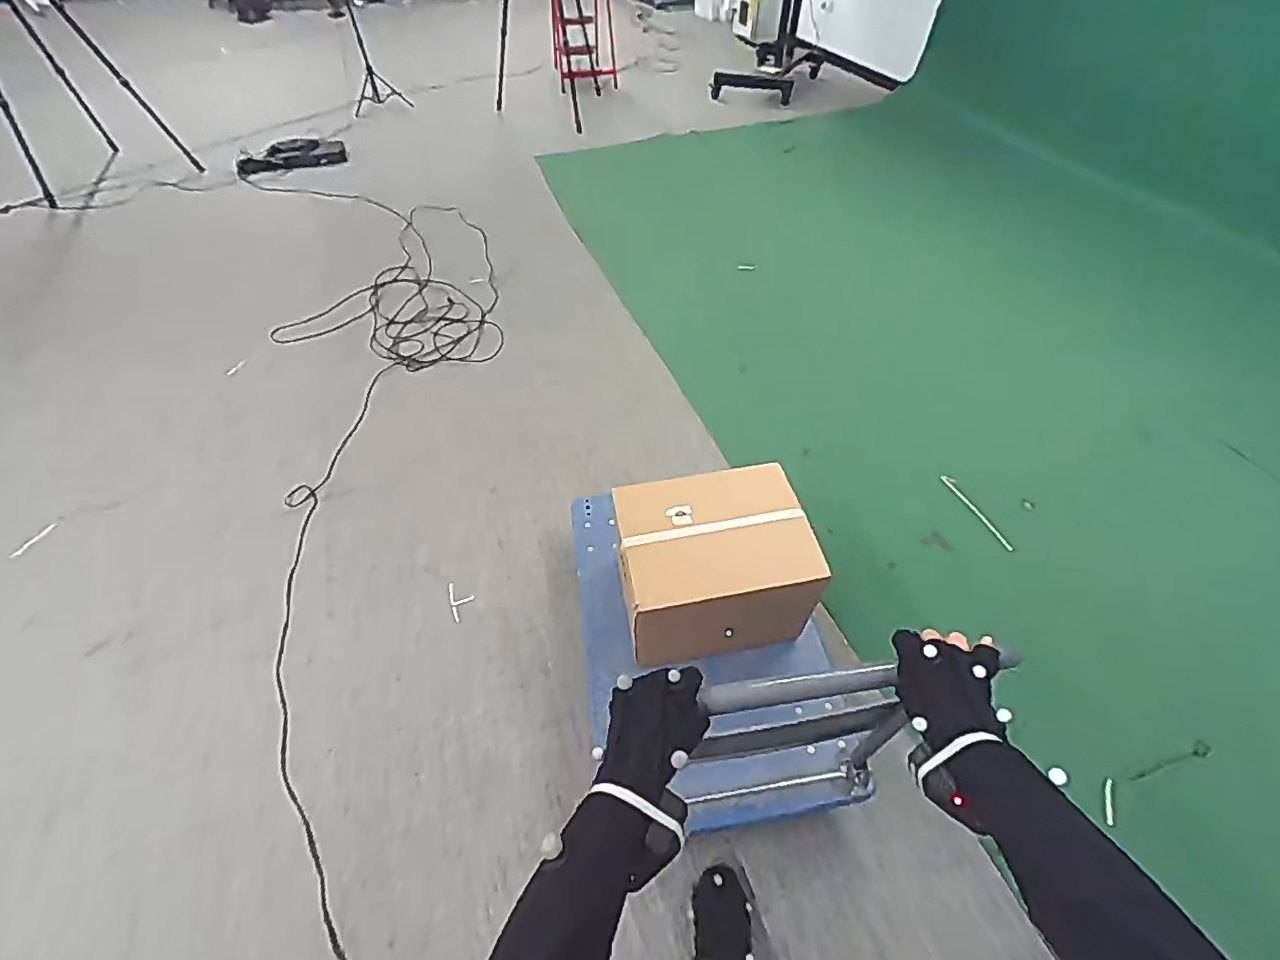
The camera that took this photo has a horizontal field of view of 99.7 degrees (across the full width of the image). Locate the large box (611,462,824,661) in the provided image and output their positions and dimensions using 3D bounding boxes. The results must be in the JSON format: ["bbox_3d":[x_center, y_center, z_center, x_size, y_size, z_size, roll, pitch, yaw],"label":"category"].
[{"bbox_3d":[0.160,0.199,1.294,0.408,0.320,0.320,-10,52,-6],"label":"large box"}]
